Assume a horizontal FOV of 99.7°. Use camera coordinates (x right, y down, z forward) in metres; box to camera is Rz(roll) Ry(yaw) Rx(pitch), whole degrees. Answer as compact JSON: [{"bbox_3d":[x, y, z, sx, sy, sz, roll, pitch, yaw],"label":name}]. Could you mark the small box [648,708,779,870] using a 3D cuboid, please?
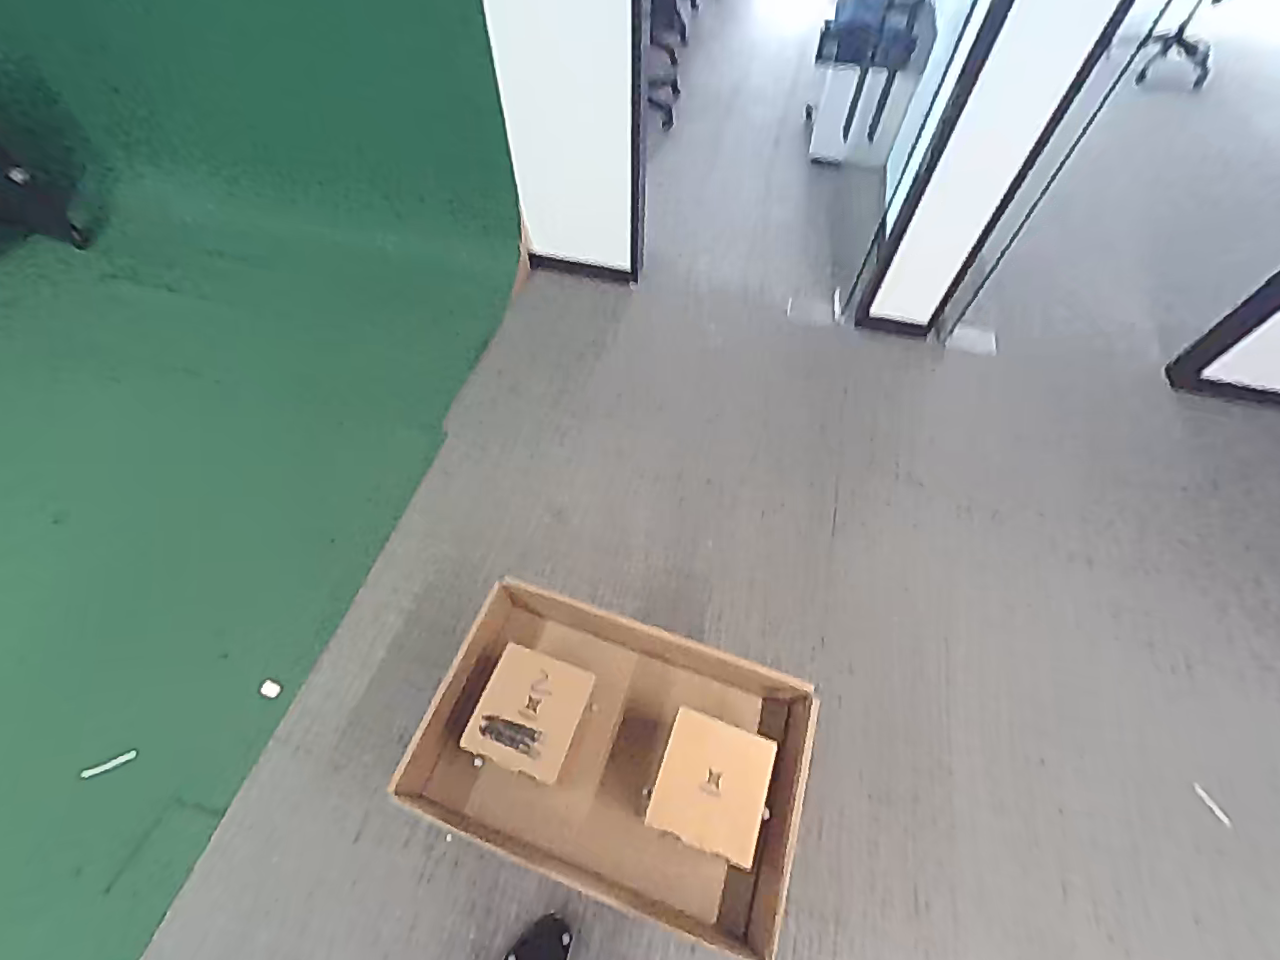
[{"bbox_3d":[0.113,0.504,0.892,0.168,0.176,0.179,18,61,10],"label":"small box"}]
